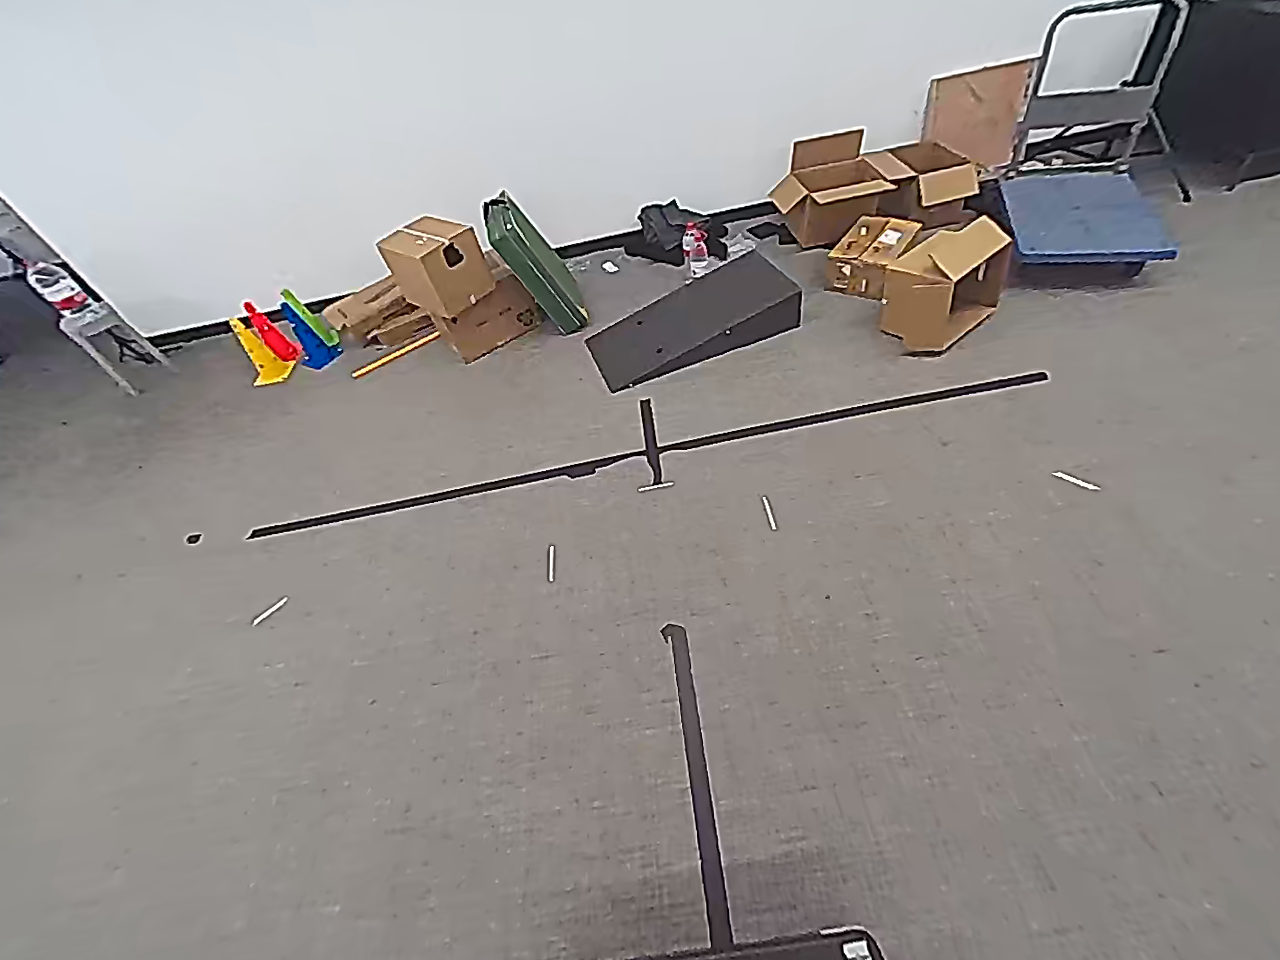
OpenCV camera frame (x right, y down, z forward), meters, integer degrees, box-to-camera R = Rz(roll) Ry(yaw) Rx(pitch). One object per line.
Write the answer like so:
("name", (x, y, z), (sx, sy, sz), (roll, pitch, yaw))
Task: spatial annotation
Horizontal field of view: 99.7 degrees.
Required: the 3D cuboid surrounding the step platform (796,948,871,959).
("step platform", (0.152, 1.105, 1.006), (0.684, 0.204, 0.286), (-11, 48, 2))
